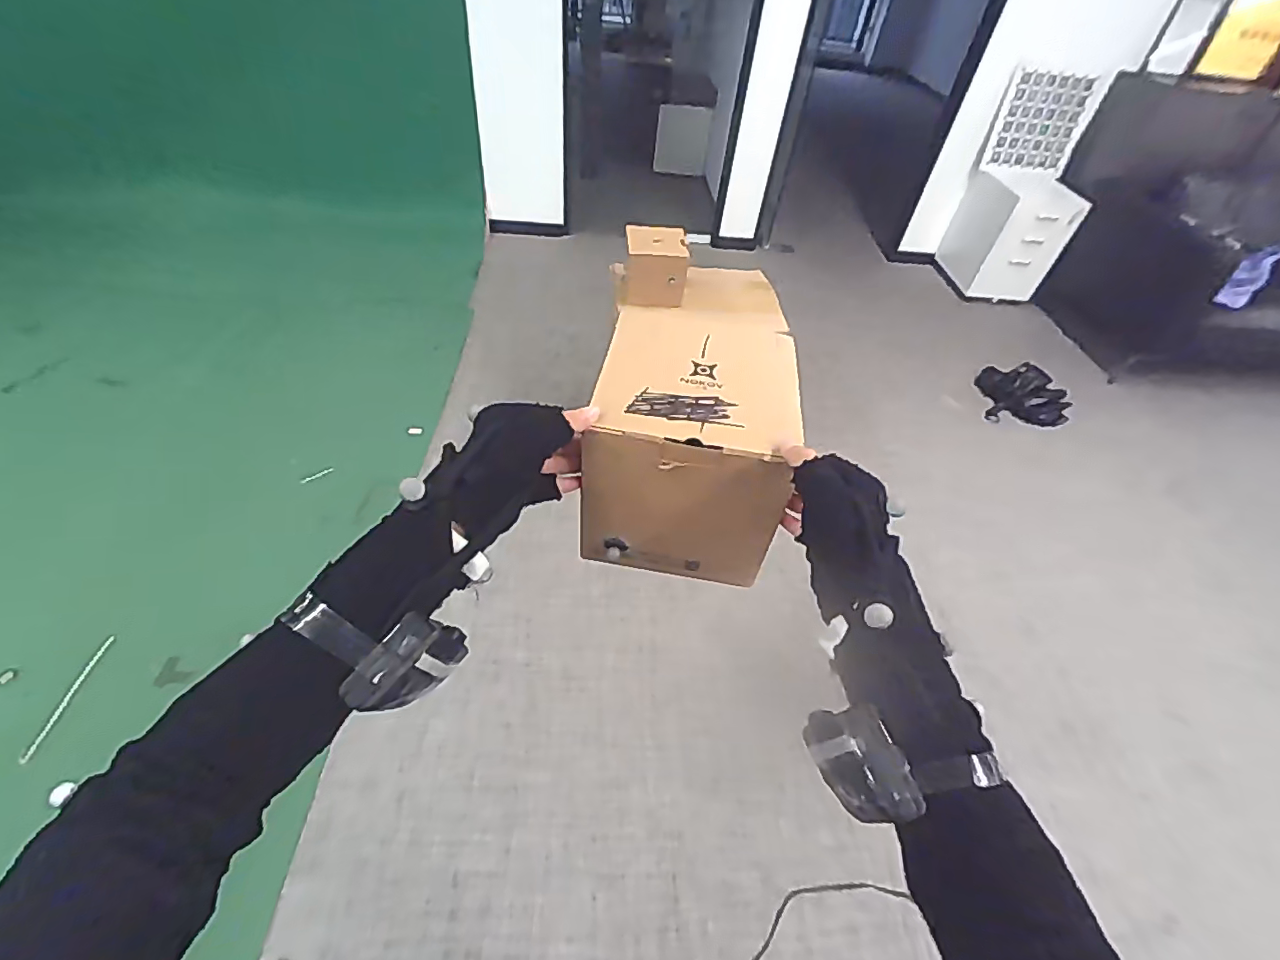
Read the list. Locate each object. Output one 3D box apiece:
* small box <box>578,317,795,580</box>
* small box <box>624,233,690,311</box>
[{"bbox_3d":[0.042,-0.028,0.514,0.168,0.176,0.179,9,45,3],"label":"small box"},{"bbox_3d":[0.047,-0.631,1.649,0.179,0.176,0.168,-1,51,-6],"label":"small box"}]
